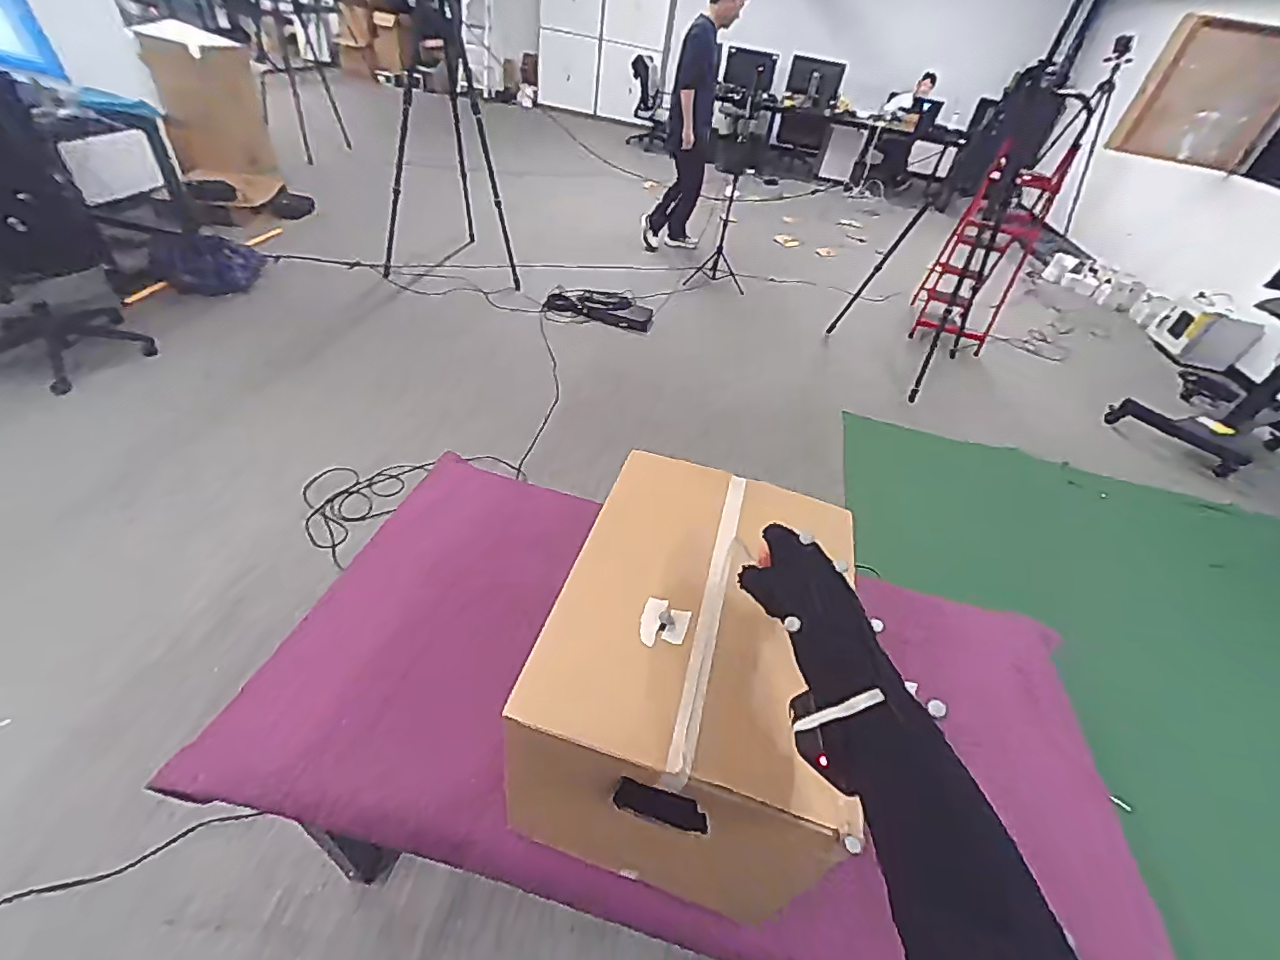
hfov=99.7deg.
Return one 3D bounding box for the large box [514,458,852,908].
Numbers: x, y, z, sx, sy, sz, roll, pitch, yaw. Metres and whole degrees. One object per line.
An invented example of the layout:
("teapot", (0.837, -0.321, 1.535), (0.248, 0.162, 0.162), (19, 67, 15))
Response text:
("large box", (0.059, 0.241, 0.708), (0.320, 0.320, 0.408), (17, 42, 6))
